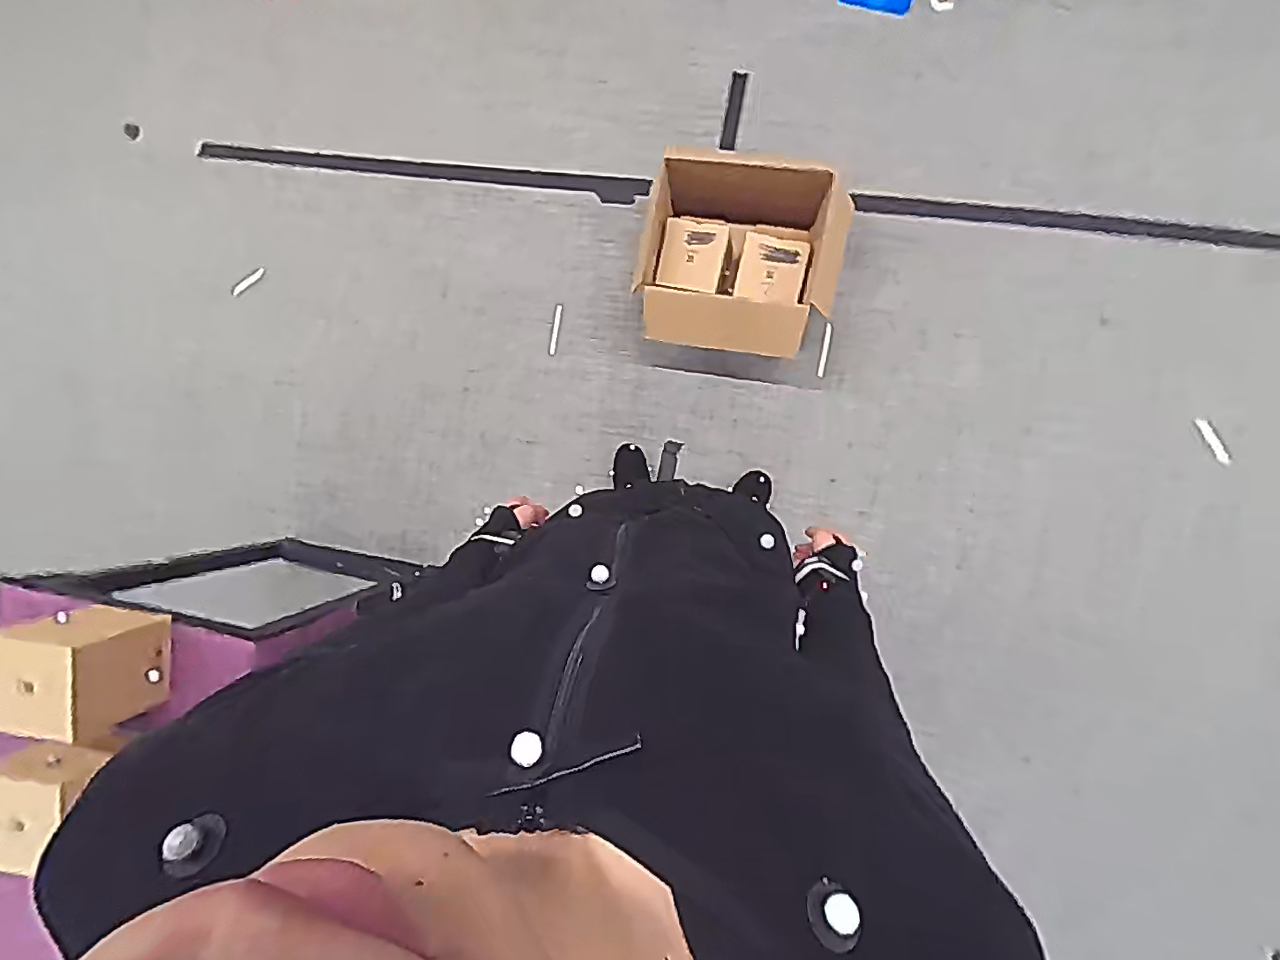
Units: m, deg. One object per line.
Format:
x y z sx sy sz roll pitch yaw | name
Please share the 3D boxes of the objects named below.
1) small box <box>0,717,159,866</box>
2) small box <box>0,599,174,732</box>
-1.038 0.559 0.995 0.179 0.176 0.168 4 93 9 | small box
-1.002 0.323 0.979 0.179 0.176 0.168 6 95 9 | small box
